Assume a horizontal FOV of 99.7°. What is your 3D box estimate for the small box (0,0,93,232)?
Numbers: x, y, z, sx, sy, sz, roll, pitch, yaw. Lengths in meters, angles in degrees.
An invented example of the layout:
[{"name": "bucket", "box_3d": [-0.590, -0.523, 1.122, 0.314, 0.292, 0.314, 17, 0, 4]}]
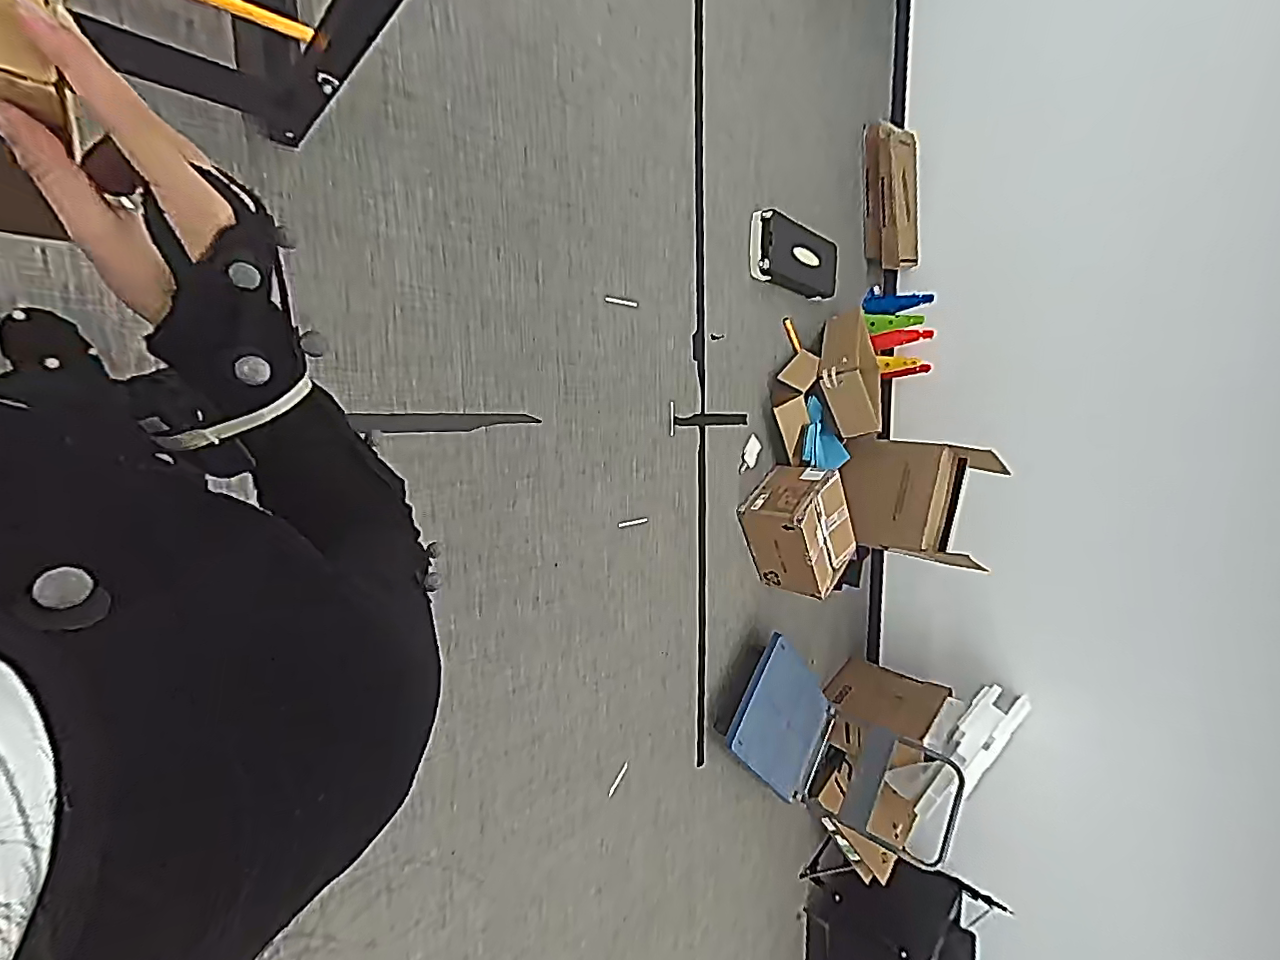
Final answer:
[{"name": "small box", "box_3d": [-0.353, -0.224, 0.216, 0.179, 0.176, 0.168, -7, 92, -45]}]
